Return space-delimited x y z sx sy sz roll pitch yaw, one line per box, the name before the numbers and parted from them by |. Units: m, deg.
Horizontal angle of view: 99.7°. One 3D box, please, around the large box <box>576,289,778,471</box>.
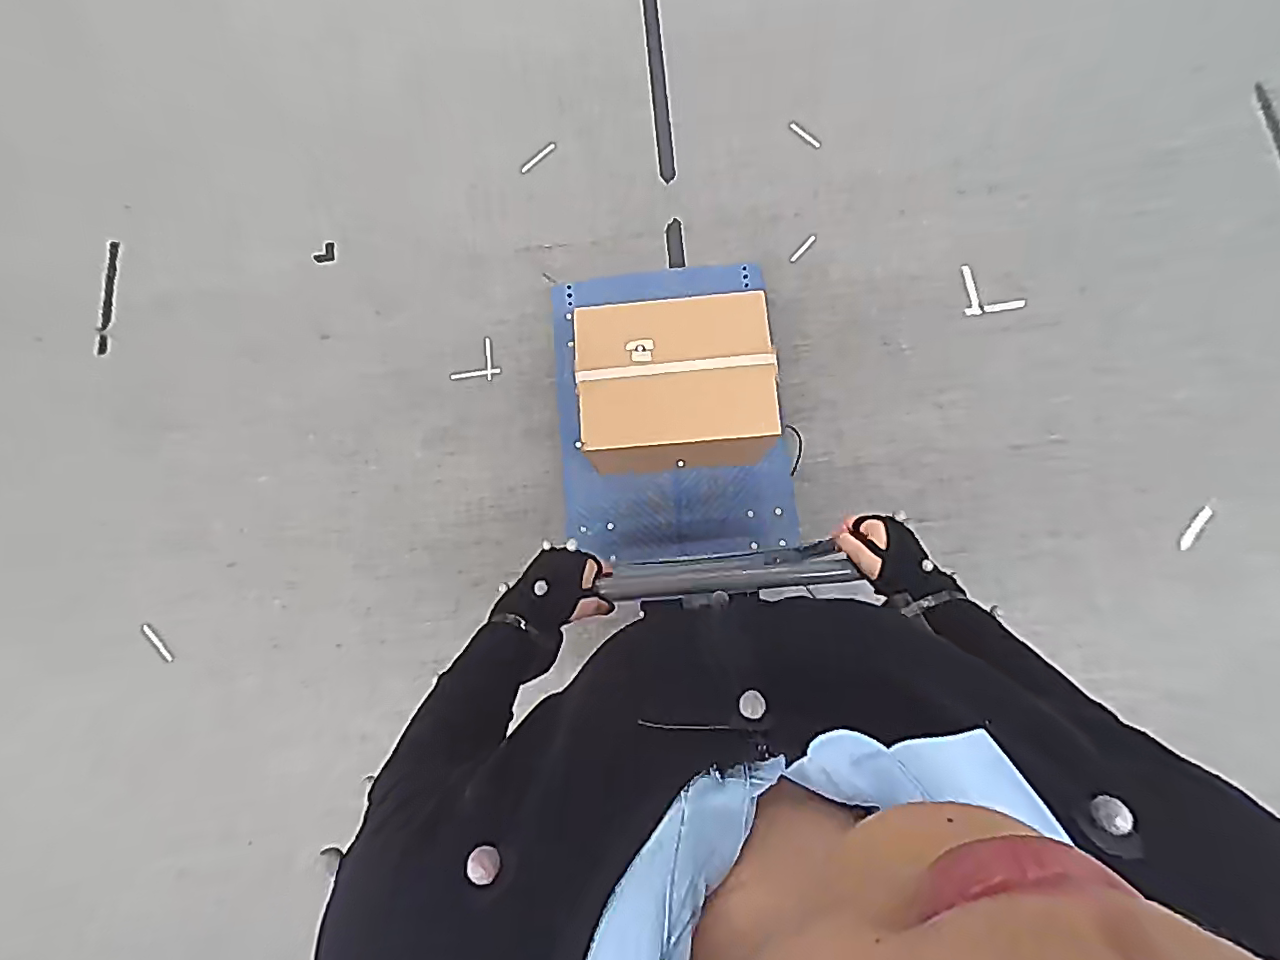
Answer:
large box | 0.084 -0.212 1.277 0.408 0.320 0.320 -5 79 4
